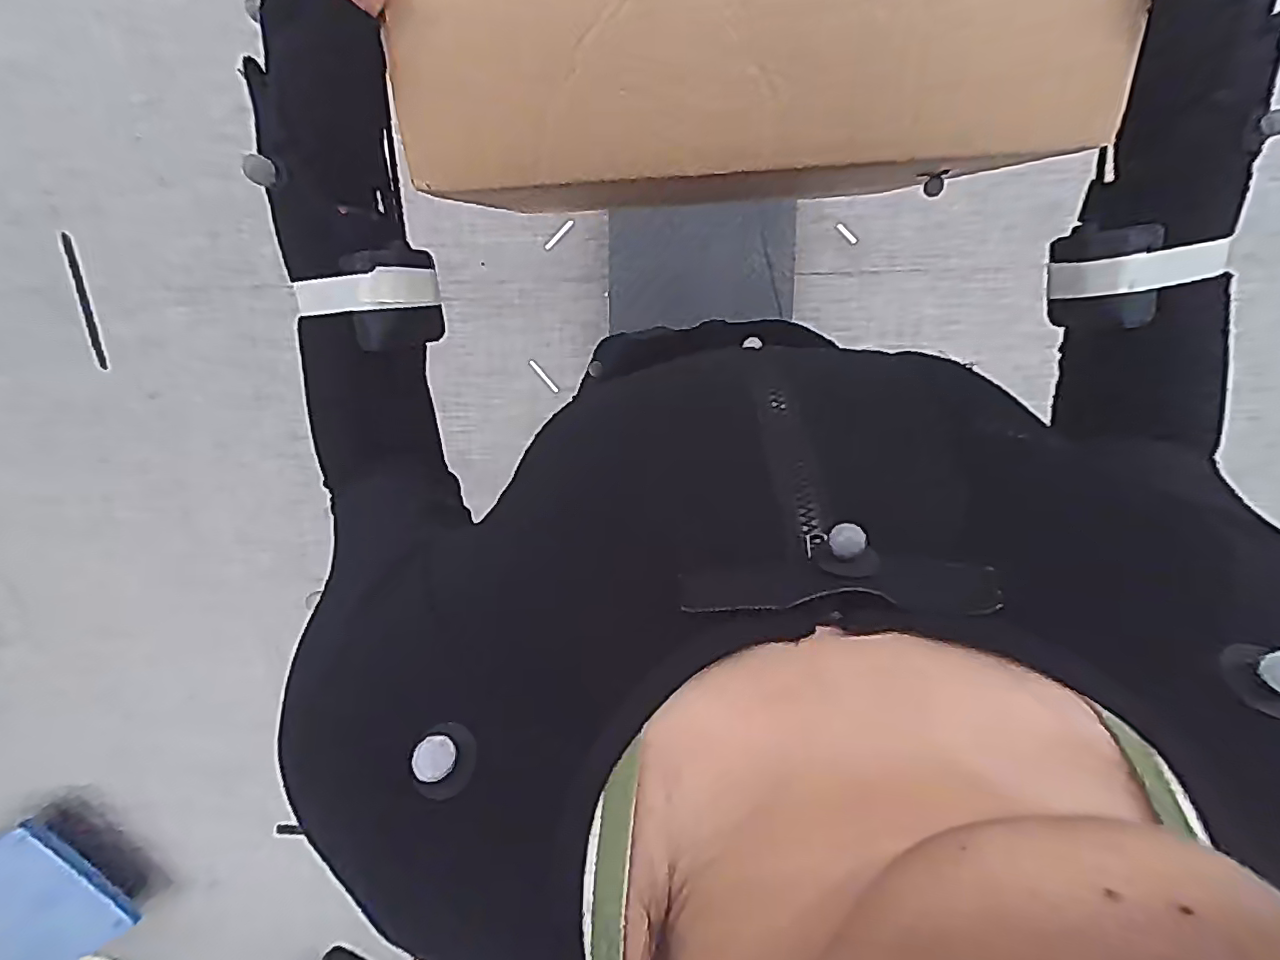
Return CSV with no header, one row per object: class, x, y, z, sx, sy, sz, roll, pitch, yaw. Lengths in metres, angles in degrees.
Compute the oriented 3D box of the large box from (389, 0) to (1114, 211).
large box,0.059,-0.389,0.402,0.408,0.320,0.320,-3,114,2
